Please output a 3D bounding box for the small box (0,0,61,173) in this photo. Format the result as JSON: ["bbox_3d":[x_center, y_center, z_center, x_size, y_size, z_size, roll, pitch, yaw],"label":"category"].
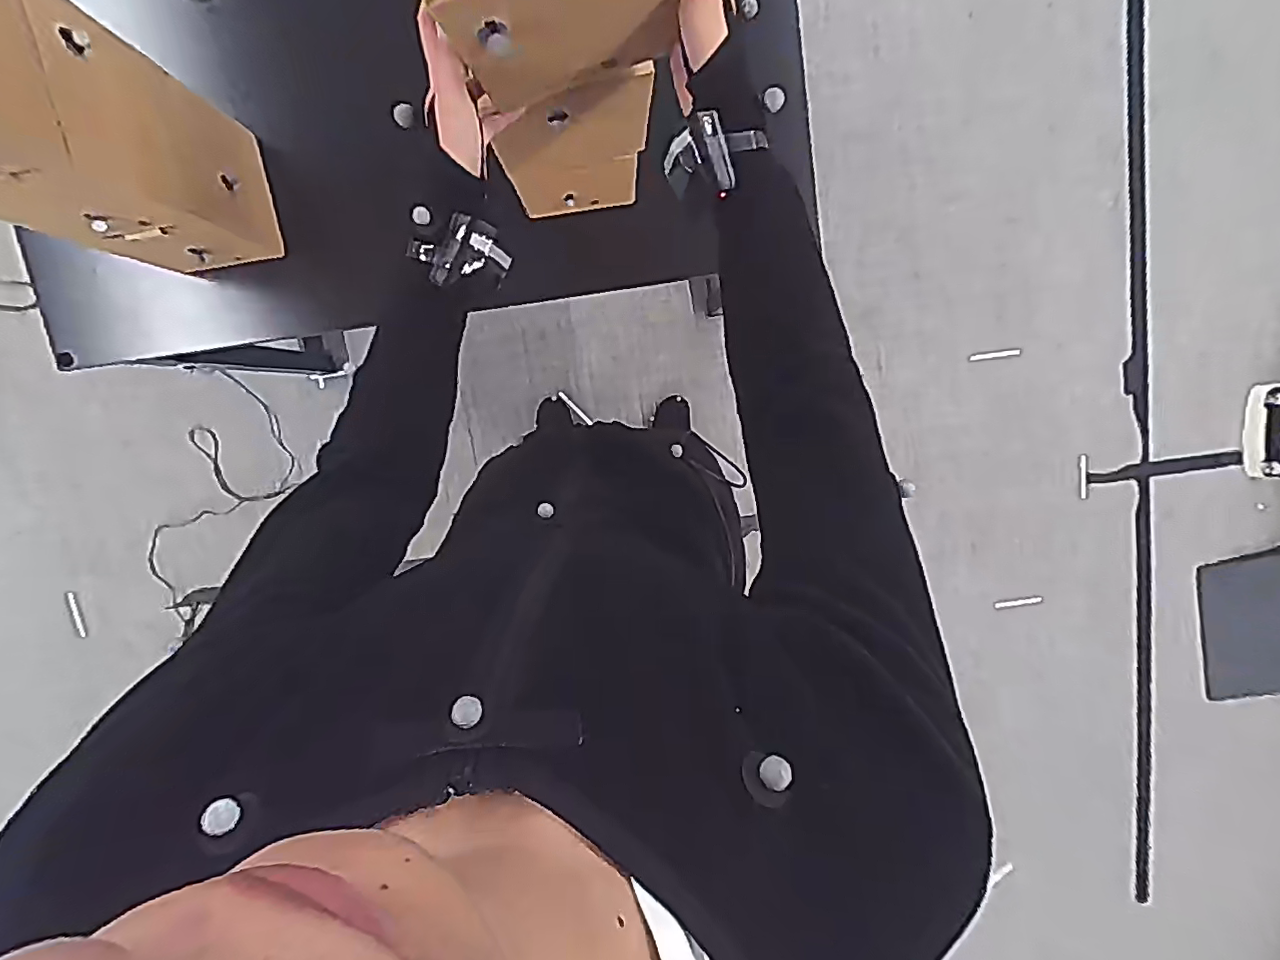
[{"bbox_3d":[-0.611,-0.349,0.399,0.168,0.176,0.179,-10,99,0],"label":"small box"}]

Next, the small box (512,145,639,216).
[{"bbox_3d":[-0.097,-0.486,0.734,0.168,0.176,0.179,-9,99,-1],"label":"small box"}]

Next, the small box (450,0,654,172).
[{"bbox_3d":[-0.089,-0.455,0.572,0.179,0.176,0.168,-13,99,-1],"label":"small box"}]

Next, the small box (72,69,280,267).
[{"bbox_3d":[-0.627,-0.397,0.723,0.168,0.176,0.179,-11,99,-1],"label":"small box"}]

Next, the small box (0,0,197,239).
[{"bbox_3d":[-0.619,-0.374,0.560,0.168,0.176,0.179,-10,99,0],"label":"small box"}]
